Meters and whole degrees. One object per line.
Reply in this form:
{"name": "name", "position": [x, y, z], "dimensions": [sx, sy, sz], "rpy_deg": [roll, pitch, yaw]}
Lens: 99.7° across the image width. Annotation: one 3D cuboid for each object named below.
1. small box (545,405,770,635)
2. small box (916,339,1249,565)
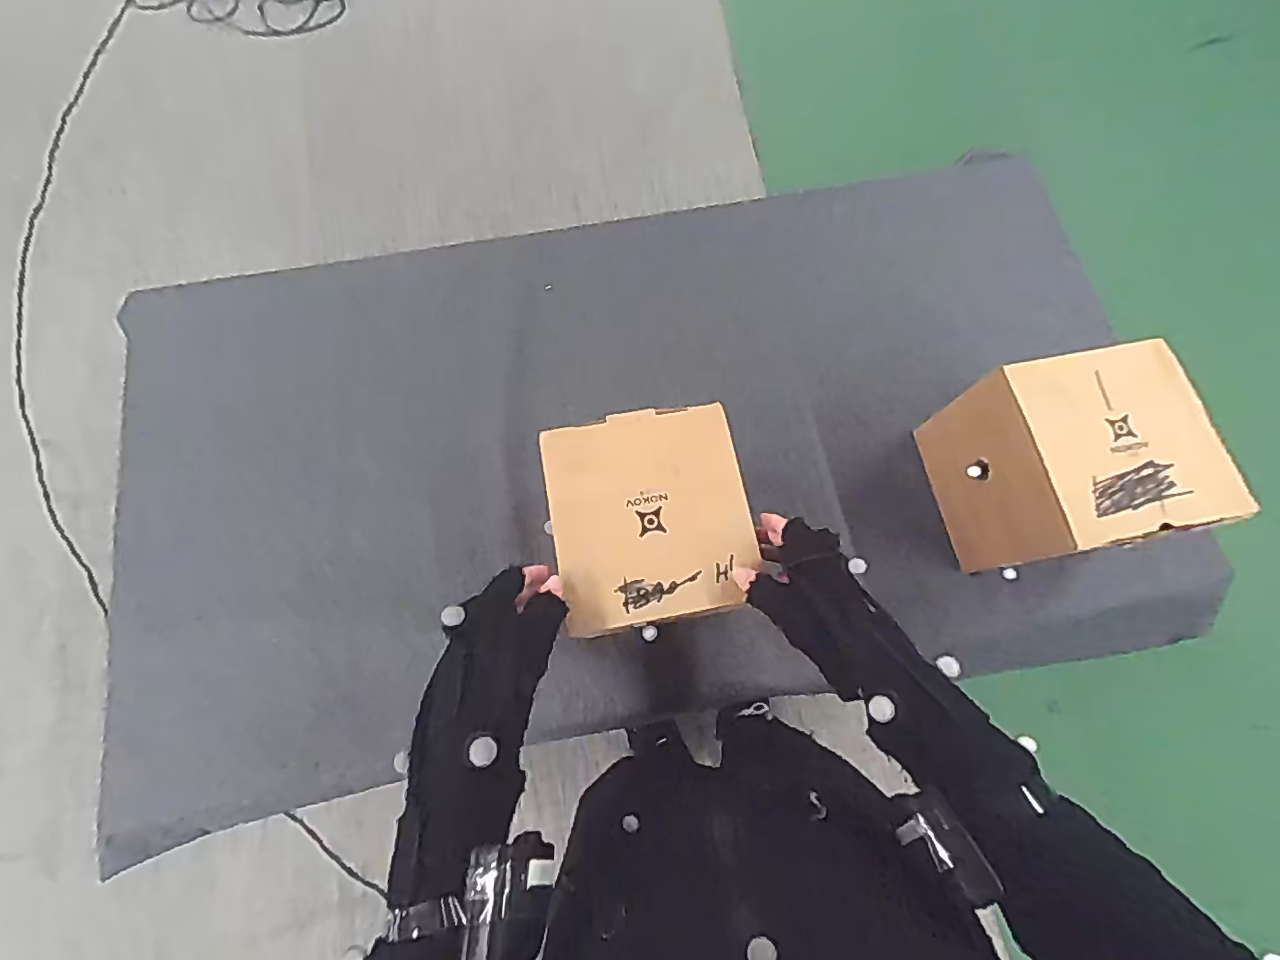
{"name": "small box", "position": [0.008, 0.049, 0.527], "dimensions": [0.168, 0.176, 0.179], "rpy_deg": [-10, 75, -4]}
{"name": "small box", "position": [0.423, -0.015, 0.554], "dimensions": [0.168, 0.176, 0.179], "rpy_deg": [-10, 73, -4]}
